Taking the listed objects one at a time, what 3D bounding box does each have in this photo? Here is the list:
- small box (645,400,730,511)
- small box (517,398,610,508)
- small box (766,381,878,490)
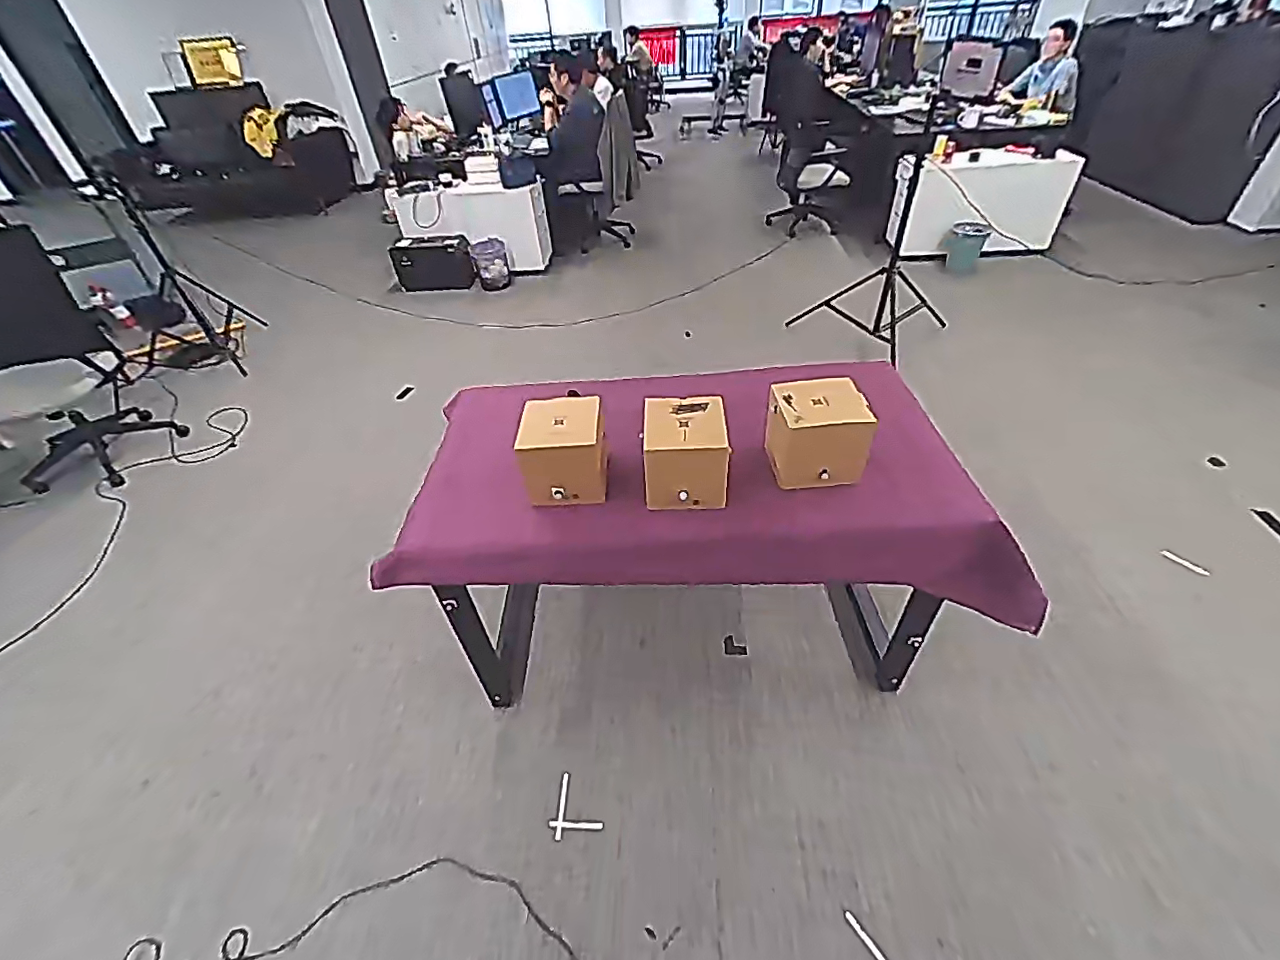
[{"bbox_3d":[0.098,-0.052,1.147,0.168,0.176,0.179,-2,42,4],"label":"small box"},{"bbox_3d":[-0.159,-0.059,1.180,0.168,0.176,0.179,-5,42,2],"label":"small box"},{"bbox_3d":[0.382,-0.095,1.169,0.179,0.176,0.168,-4,41,1],"label":"small box"}]
